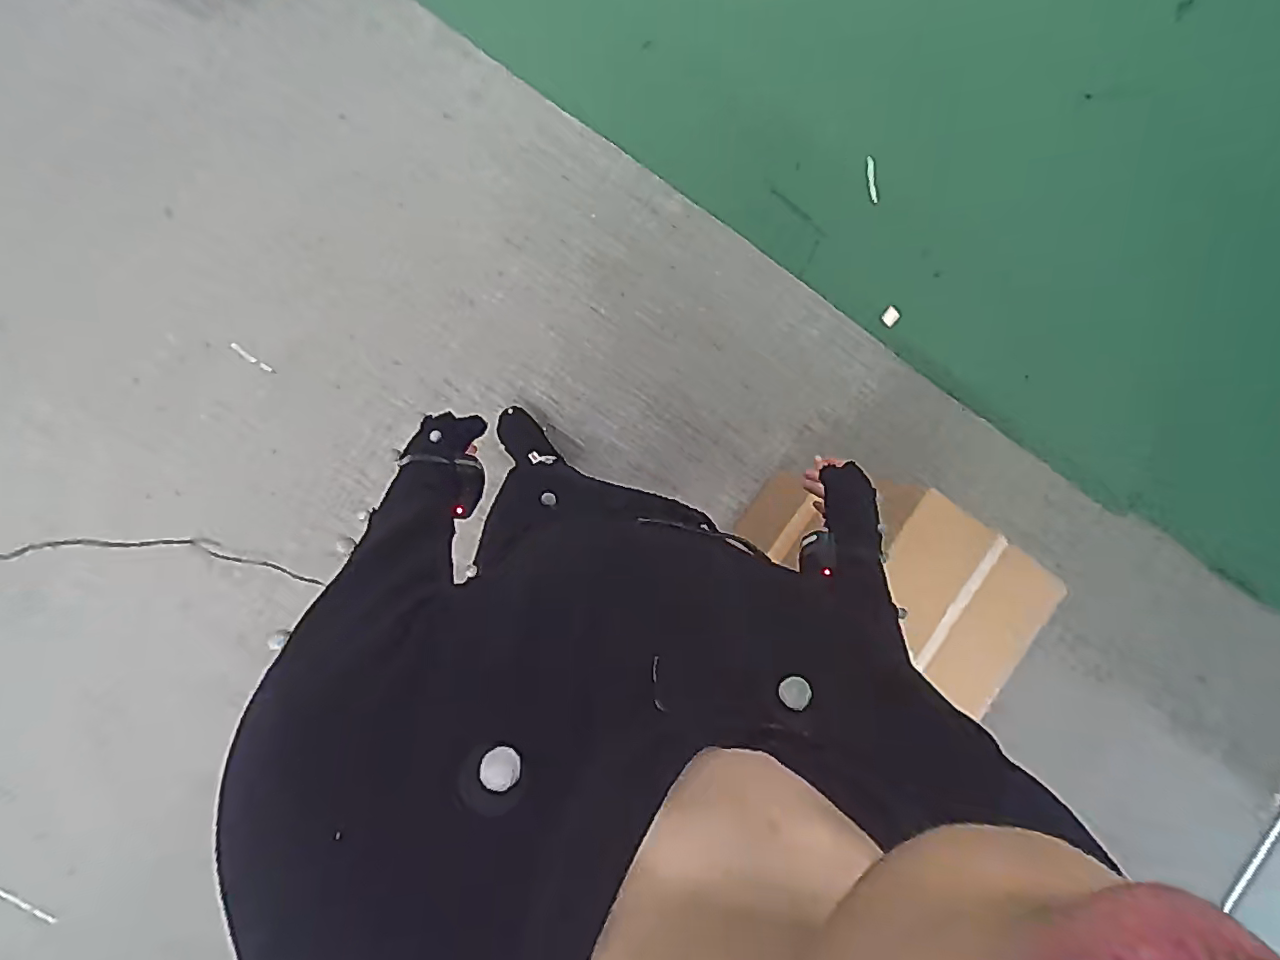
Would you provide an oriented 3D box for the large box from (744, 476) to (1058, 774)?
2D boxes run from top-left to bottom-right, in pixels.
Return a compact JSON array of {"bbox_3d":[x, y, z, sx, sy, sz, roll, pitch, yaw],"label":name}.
[{"bbox_3d":[0.471,0.247,1.052,0.320,0.320,0.408,35,90,-7],"label":"large box"}]
